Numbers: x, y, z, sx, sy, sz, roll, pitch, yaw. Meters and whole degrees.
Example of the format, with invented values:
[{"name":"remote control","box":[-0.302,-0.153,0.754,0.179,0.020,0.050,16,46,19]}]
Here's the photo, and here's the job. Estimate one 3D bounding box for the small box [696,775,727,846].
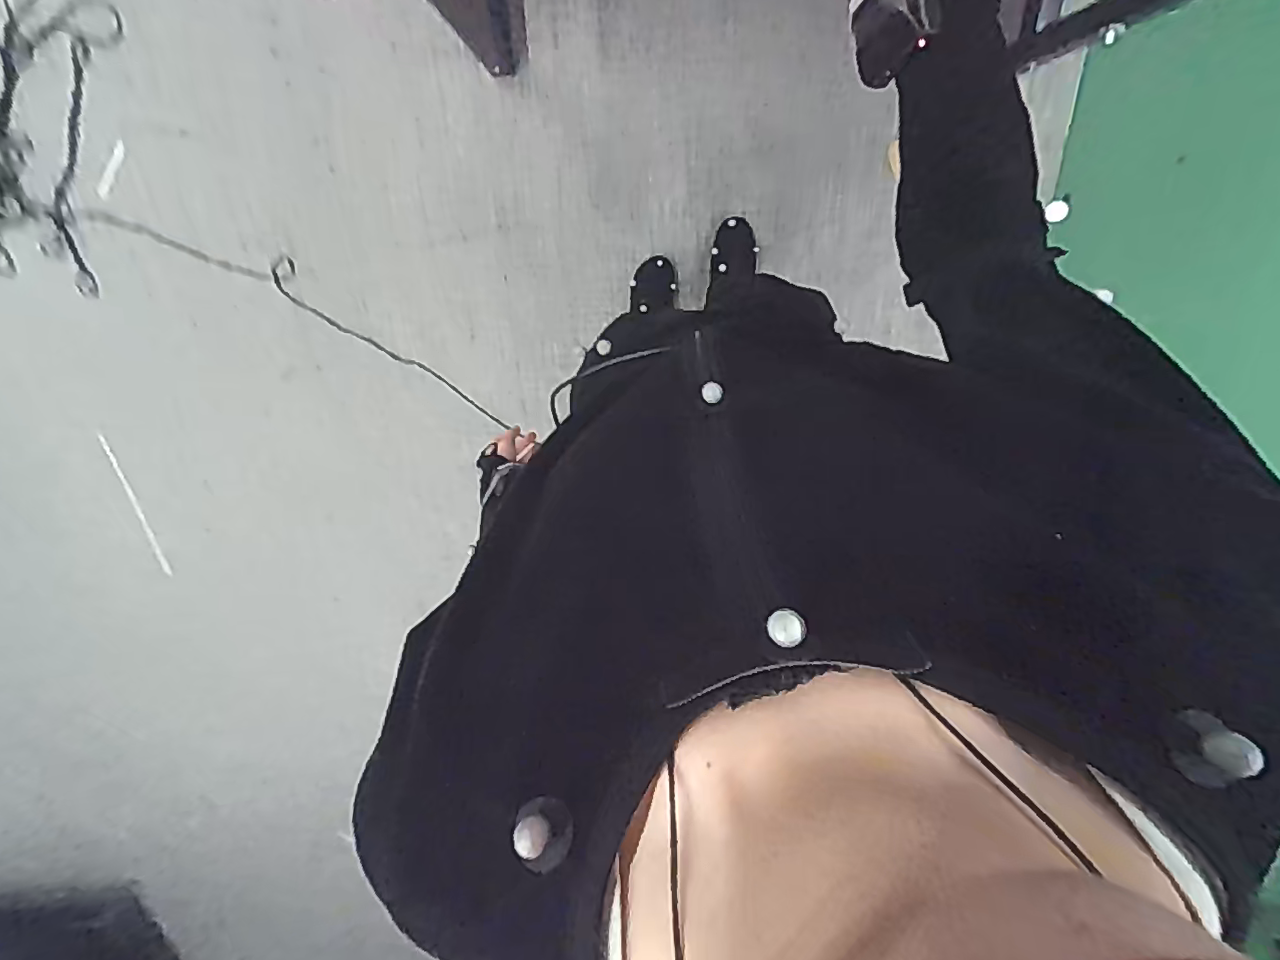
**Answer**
[{"name":"small box","box":[0.318,1.226,2.027,0.179,0.176,0.168,-15,113,7]}]
